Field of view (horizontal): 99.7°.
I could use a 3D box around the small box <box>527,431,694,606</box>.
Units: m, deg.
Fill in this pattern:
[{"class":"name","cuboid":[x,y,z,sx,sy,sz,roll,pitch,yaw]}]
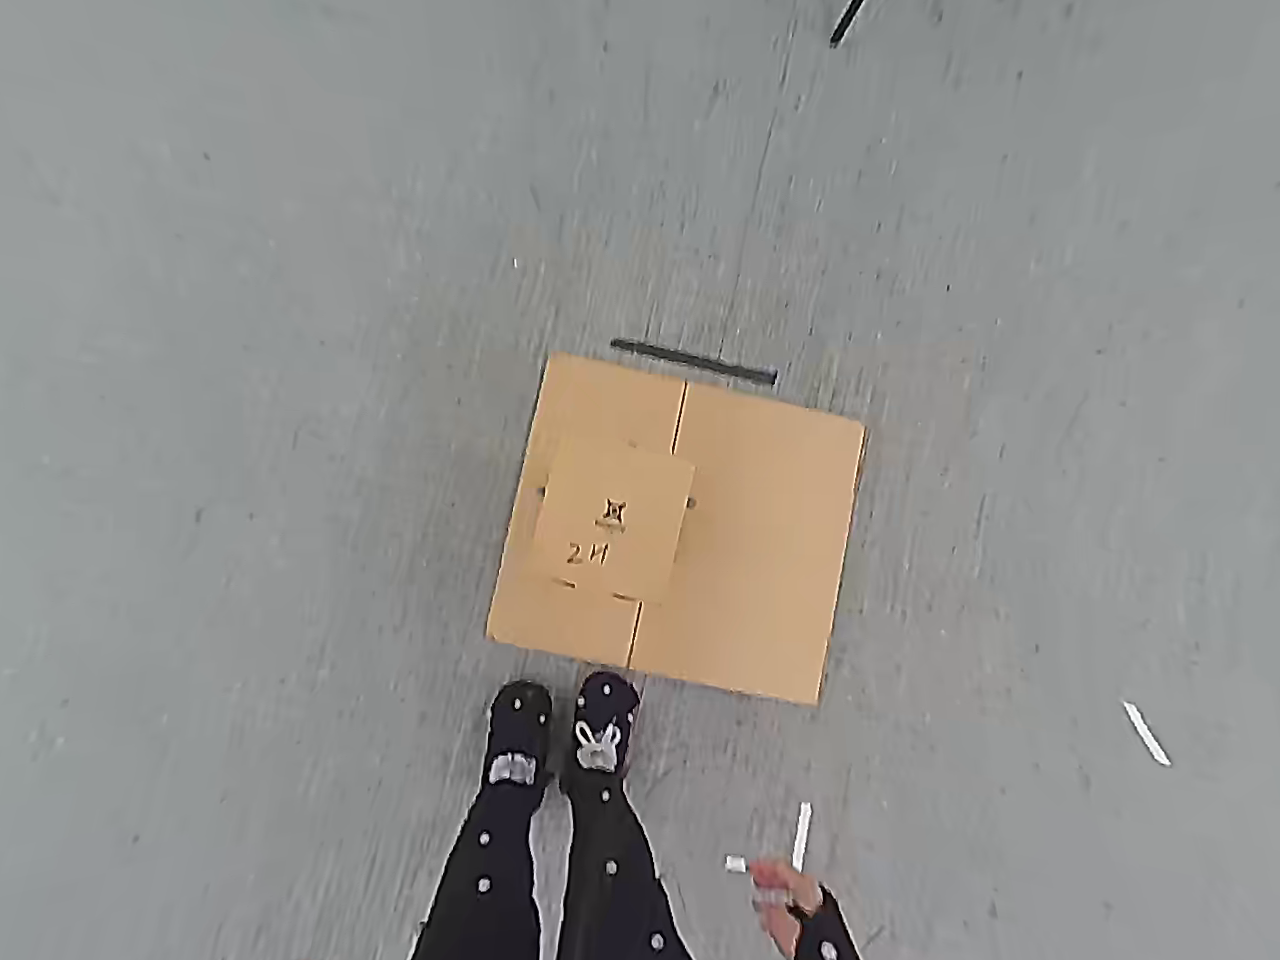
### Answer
[{"class":"small box","cuboid":[-0.039,0.050,0.712,0.168,0.176,0.179,14,85,-3]}]
